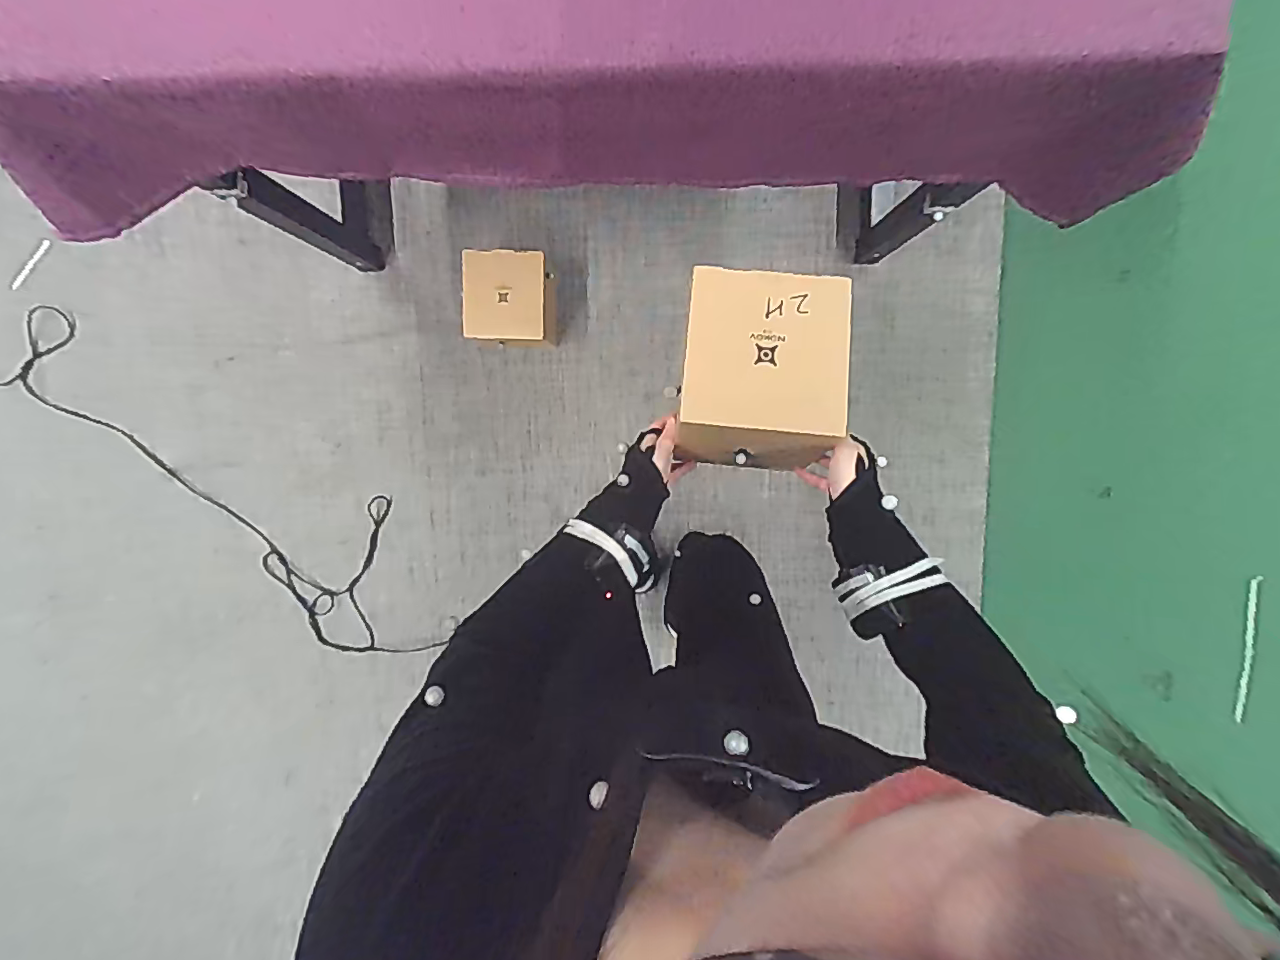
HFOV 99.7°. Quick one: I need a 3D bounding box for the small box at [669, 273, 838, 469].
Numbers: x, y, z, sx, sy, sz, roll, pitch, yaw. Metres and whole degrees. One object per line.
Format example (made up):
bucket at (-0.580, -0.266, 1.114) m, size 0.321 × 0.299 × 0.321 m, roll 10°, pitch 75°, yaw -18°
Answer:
small box at (0.124, -0.118, 0.646) m, size 0.168 × 0.176 × 0.179 m, roll 6°, pitch 79°, yaw 2°
